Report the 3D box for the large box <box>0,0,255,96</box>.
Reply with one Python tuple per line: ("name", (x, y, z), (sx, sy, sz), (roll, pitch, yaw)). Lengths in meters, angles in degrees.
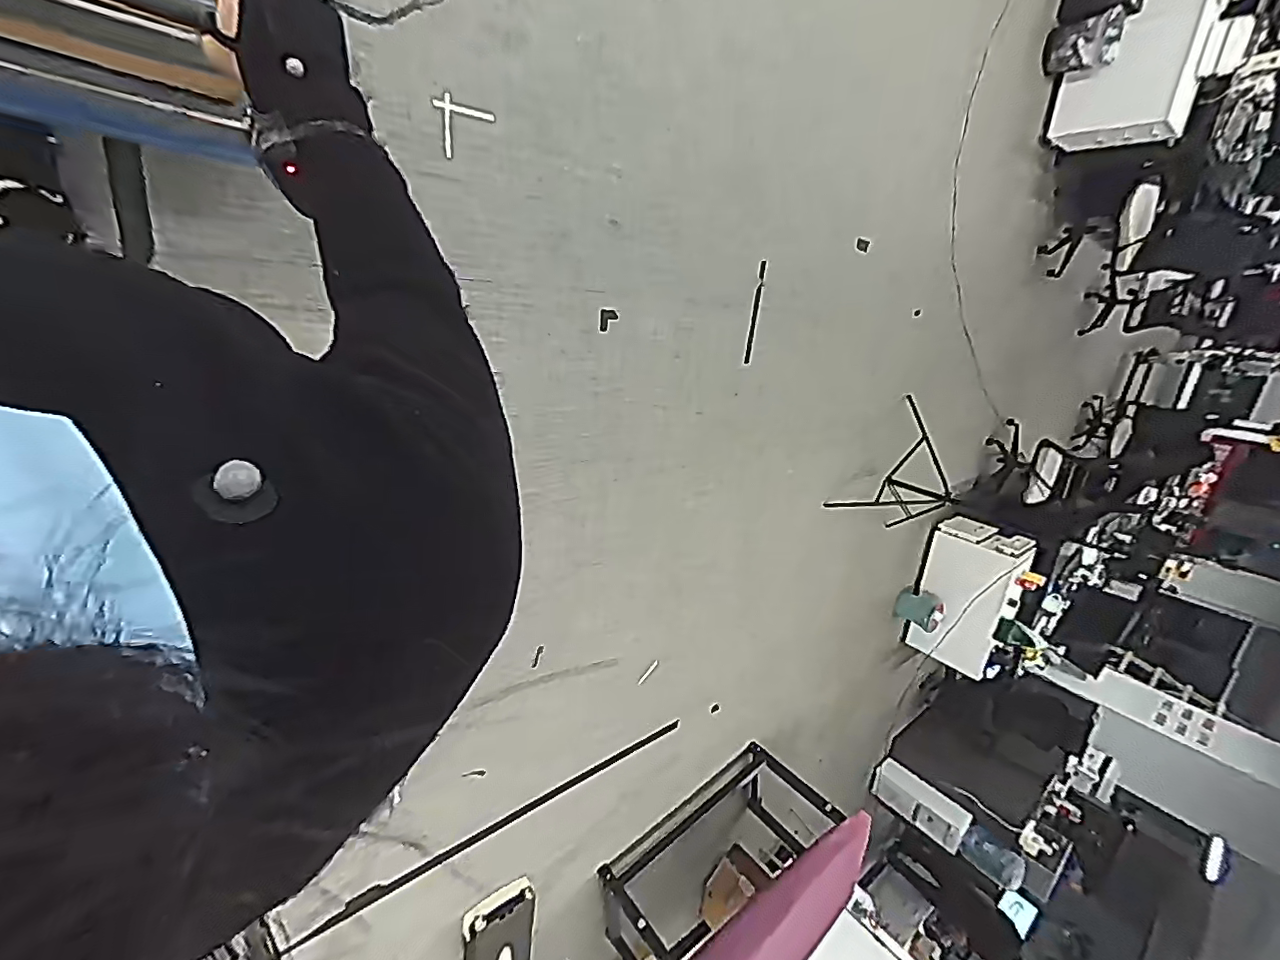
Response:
("large box", (-0.744, -0.736, 0.654), (0.408, 0.320, 0.320), (-8, 113, -41))
